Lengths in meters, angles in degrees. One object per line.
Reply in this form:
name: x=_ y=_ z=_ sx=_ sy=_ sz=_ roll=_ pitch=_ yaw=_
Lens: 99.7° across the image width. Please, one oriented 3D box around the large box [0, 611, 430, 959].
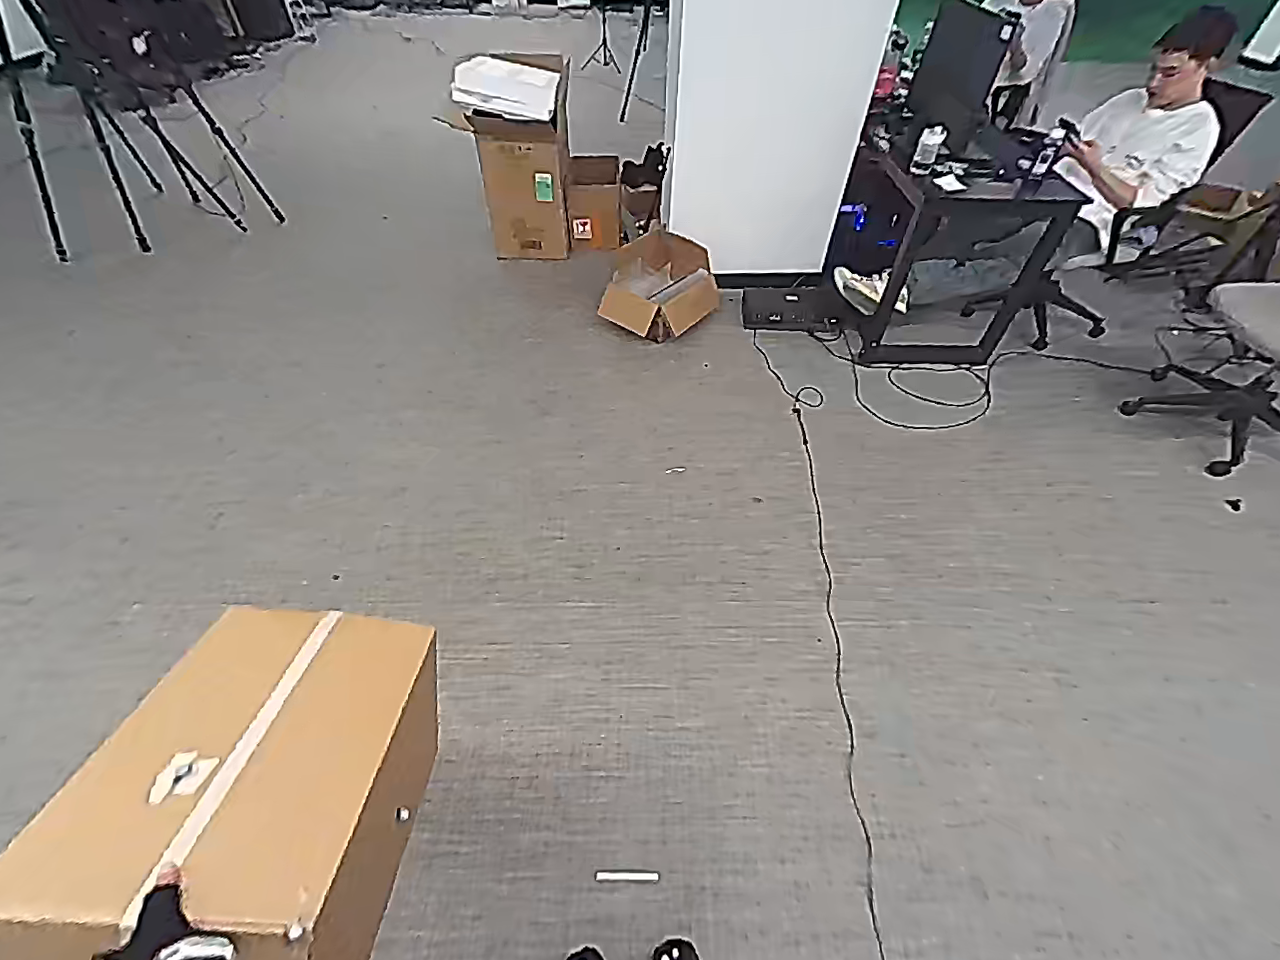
large box: x=-0.504 y=0.448 z=0.758 sx=0.320 sy=0.320 sz=0.408 roll=7 pitch=30 yaw=-6
